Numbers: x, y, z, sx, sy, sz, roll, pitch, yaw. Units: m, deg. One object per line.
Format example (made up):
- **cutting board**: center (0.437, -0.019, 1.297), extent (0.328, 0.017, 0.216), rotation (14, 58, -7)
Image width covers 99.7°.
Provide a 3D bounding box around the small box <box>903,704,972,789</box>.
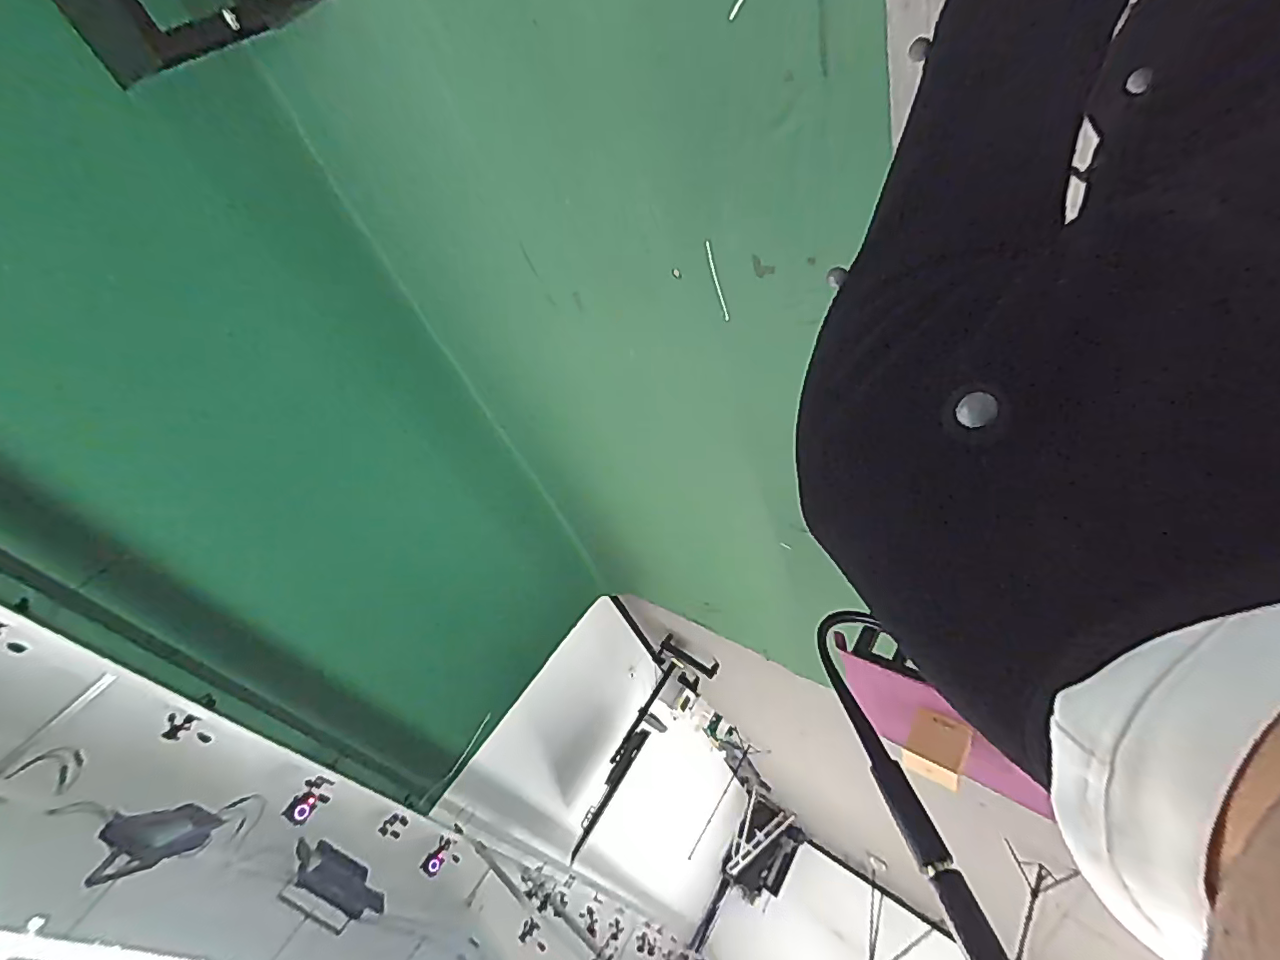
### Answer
- **small box**: center (1.003, 0.894, 1.820), extent (0.168, 0.176, 0.179), rotation (15, 146, 38)
